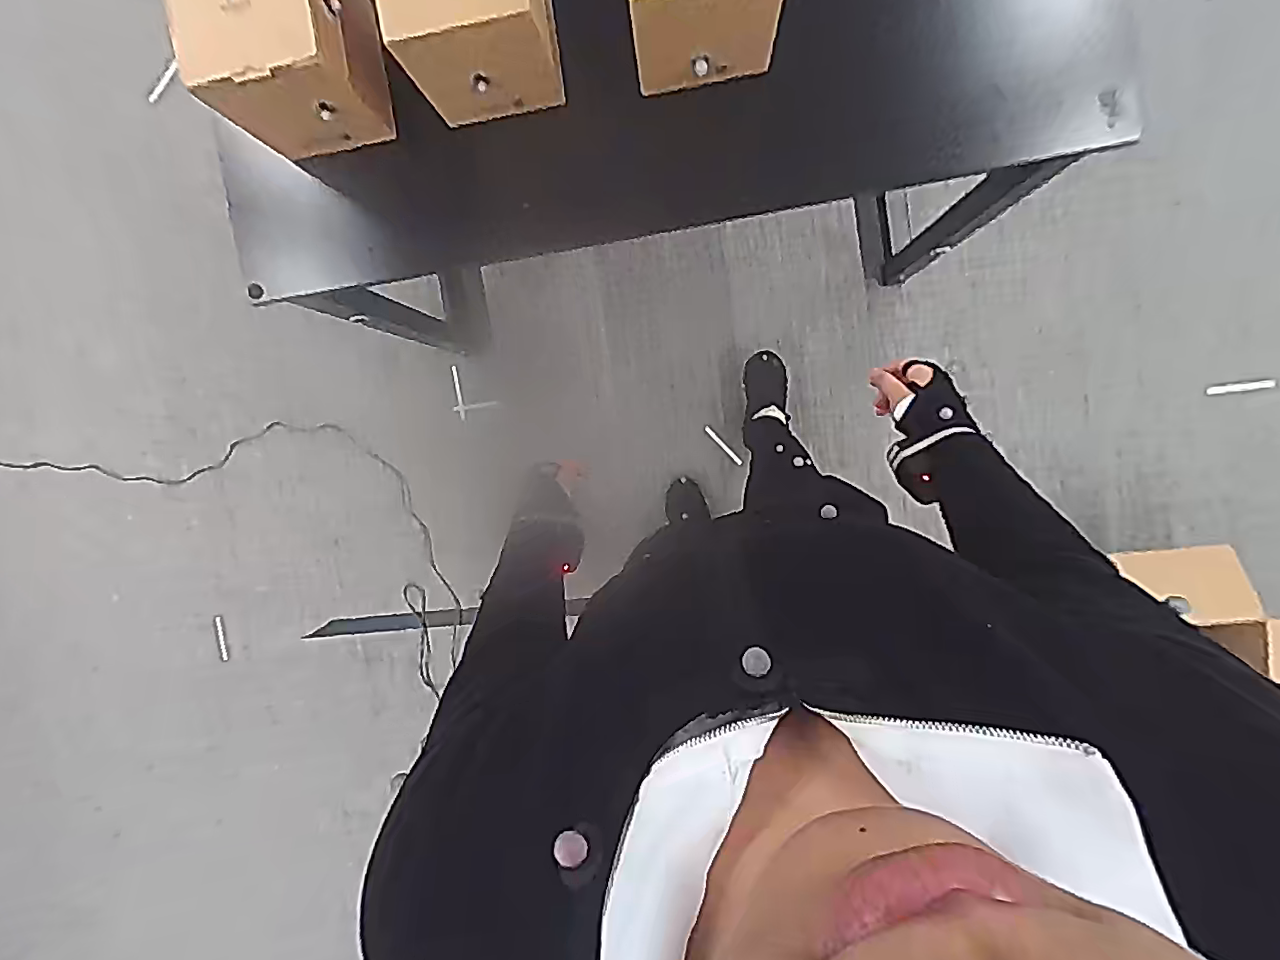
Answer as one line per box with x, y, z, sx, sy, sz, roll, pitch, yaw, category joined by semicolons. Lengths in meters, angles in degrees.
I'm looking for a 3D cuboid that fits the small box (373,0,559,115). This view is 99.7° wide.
-0.202;-0.569;0.642;0.168;0.176;0.179;-7;95;5;small box

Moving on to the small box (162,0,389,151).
-0.438;-0.540;0.669;0.168;0.176;0.179;-9;93;4;small box

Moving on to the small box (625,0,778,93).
0.061;-0.594;0.617;0.168;0.176;0.179;-7;95;6;small box
